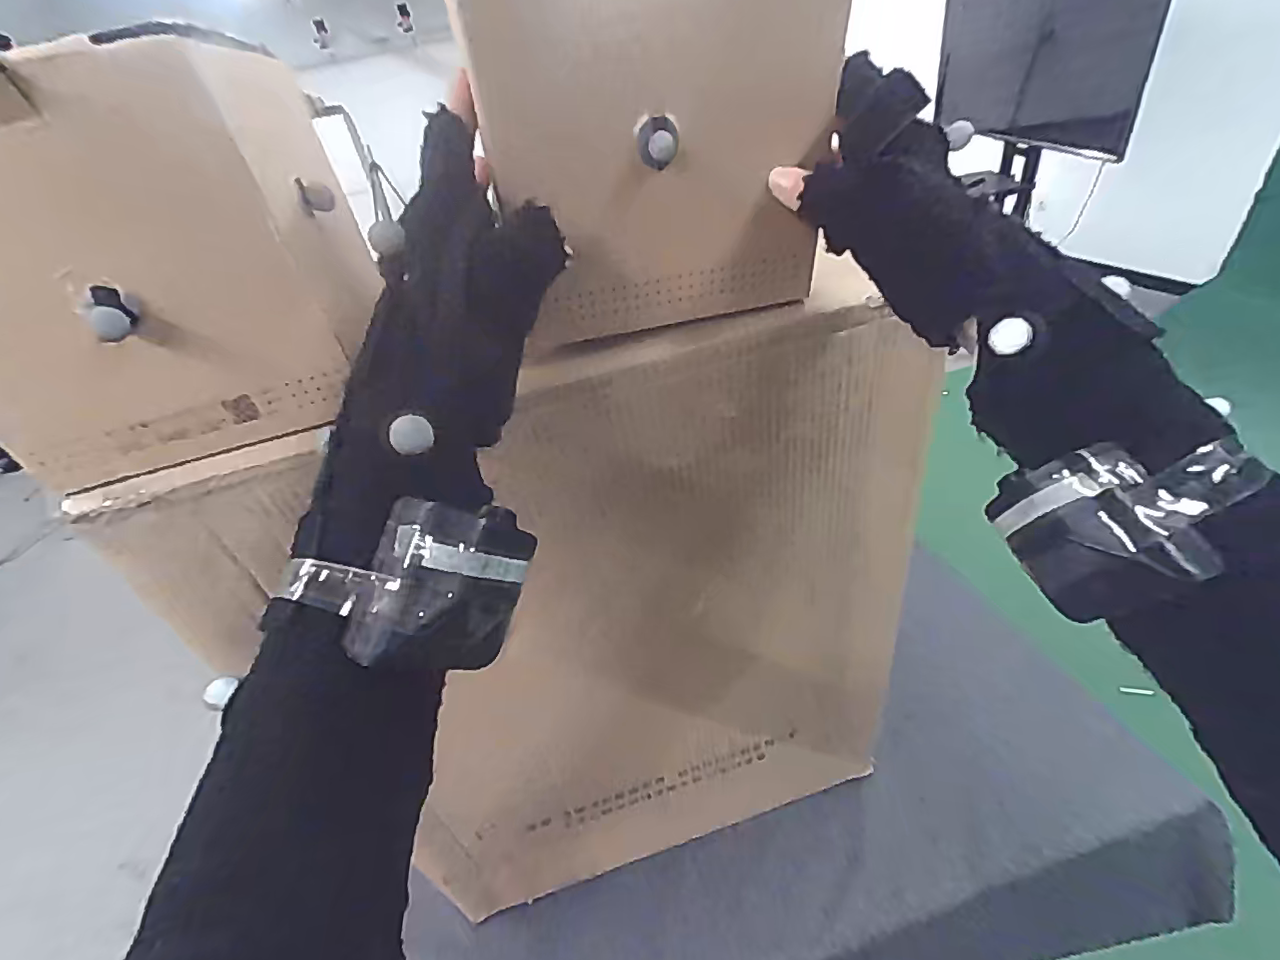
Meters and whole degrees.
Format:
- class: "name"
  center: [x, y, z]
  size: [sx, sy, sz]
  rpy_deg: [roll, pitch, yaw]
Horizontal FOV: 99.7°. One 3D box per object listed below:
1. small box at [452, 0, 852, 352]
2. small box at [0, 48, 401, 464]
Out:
- class: "small box"
  center: [-0.002, -0.200, 0.330]
  size: [0.179, 0.176, 0.168]
  rpy_deg: [-13, 41, -7]
- class: "small box"
  center: [-0.258, -0.126, 0.315]
  size: [0.168, 0.176, 0.179]
  rpy_deg: [-16, 38, -7]
